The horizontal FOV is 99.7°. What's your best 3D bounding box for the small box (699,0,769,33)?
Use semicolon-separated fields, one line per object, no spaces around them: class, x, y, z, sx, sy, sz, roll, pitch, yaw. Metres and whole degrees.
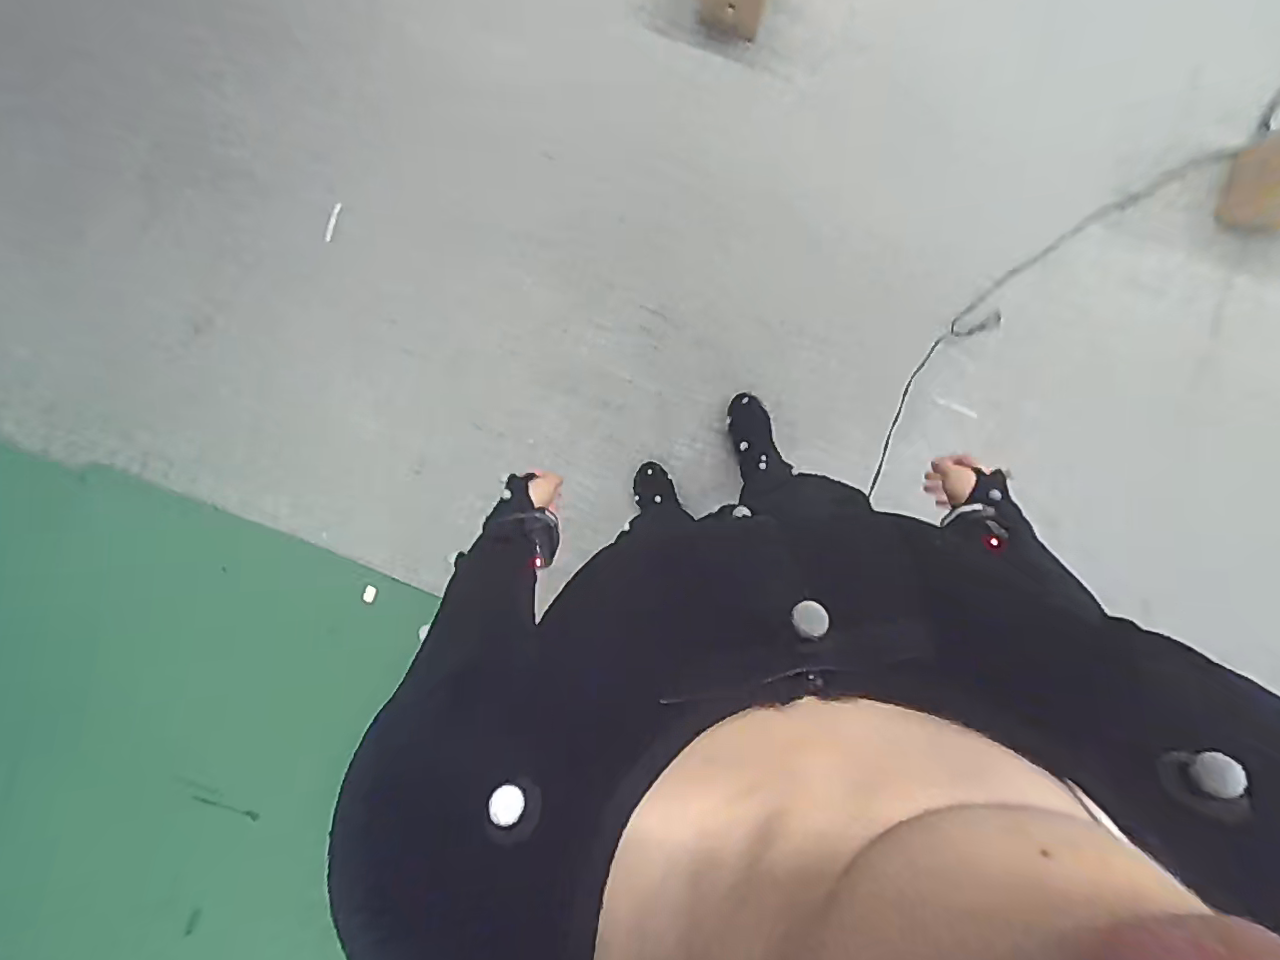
small box;0.244;-1.233;1.294;0.168;0.176;0.179;21;96;2

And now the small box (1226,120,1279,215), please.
small box;1.532;-0.733;1.243;0.179;0.176;0.168;12;96;2
